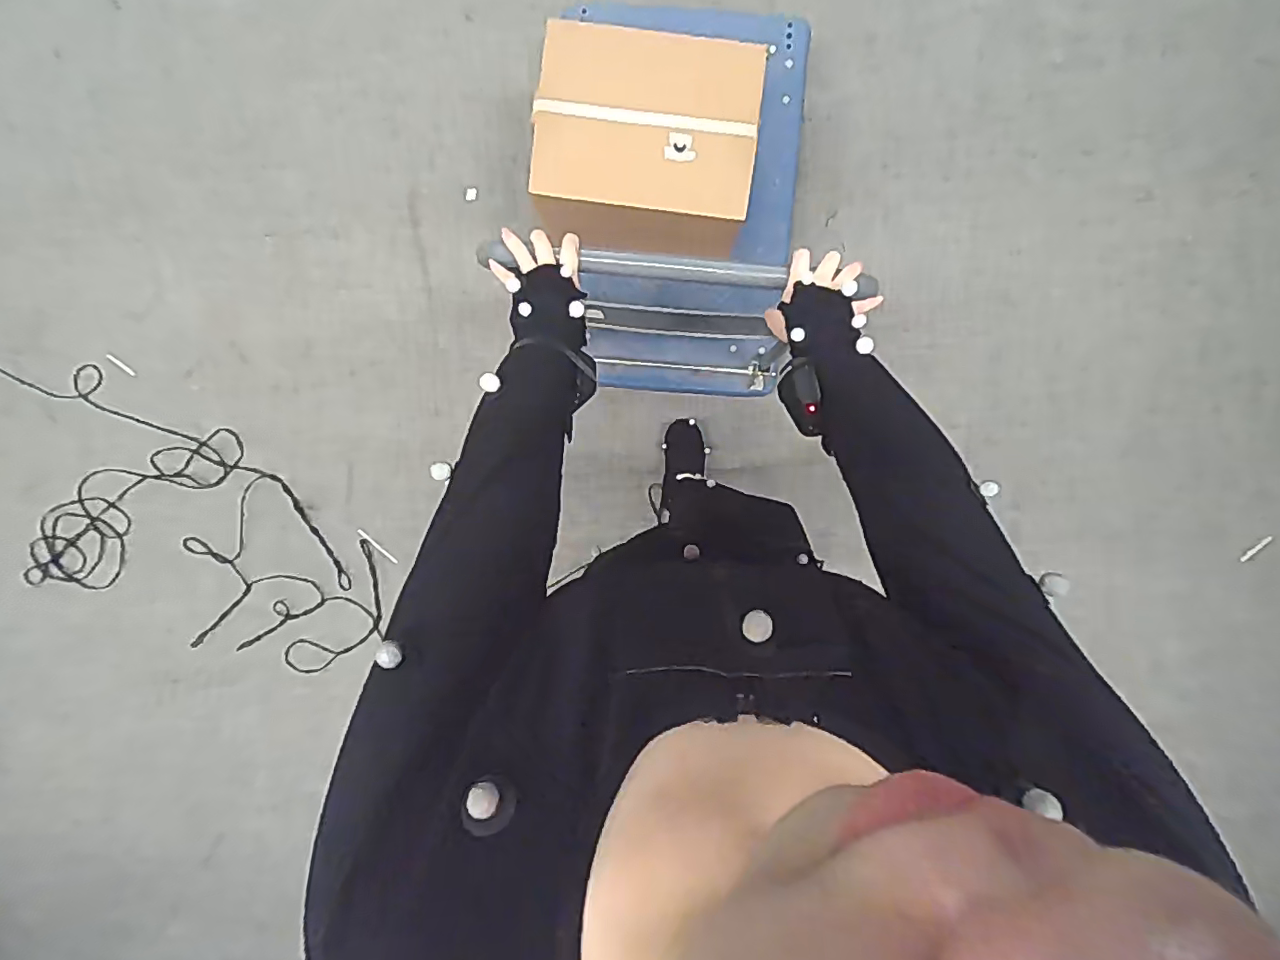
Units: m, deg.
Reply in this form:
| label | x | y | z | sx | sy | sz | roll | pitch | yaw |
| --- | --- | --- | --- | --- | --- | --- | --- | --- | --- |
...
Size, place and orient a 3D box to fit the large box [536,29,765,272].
| label | x | y | z | sx | sy | sz | roll | pitch | yaw |
| --- | --- | --- | --- | --- | --- | --- | --- | --- | --- |
| large box | 0.016 | -0.667 | 1.152 | 0.408 | 0.320 | 0.320 | 7 | 93 | 0 |
